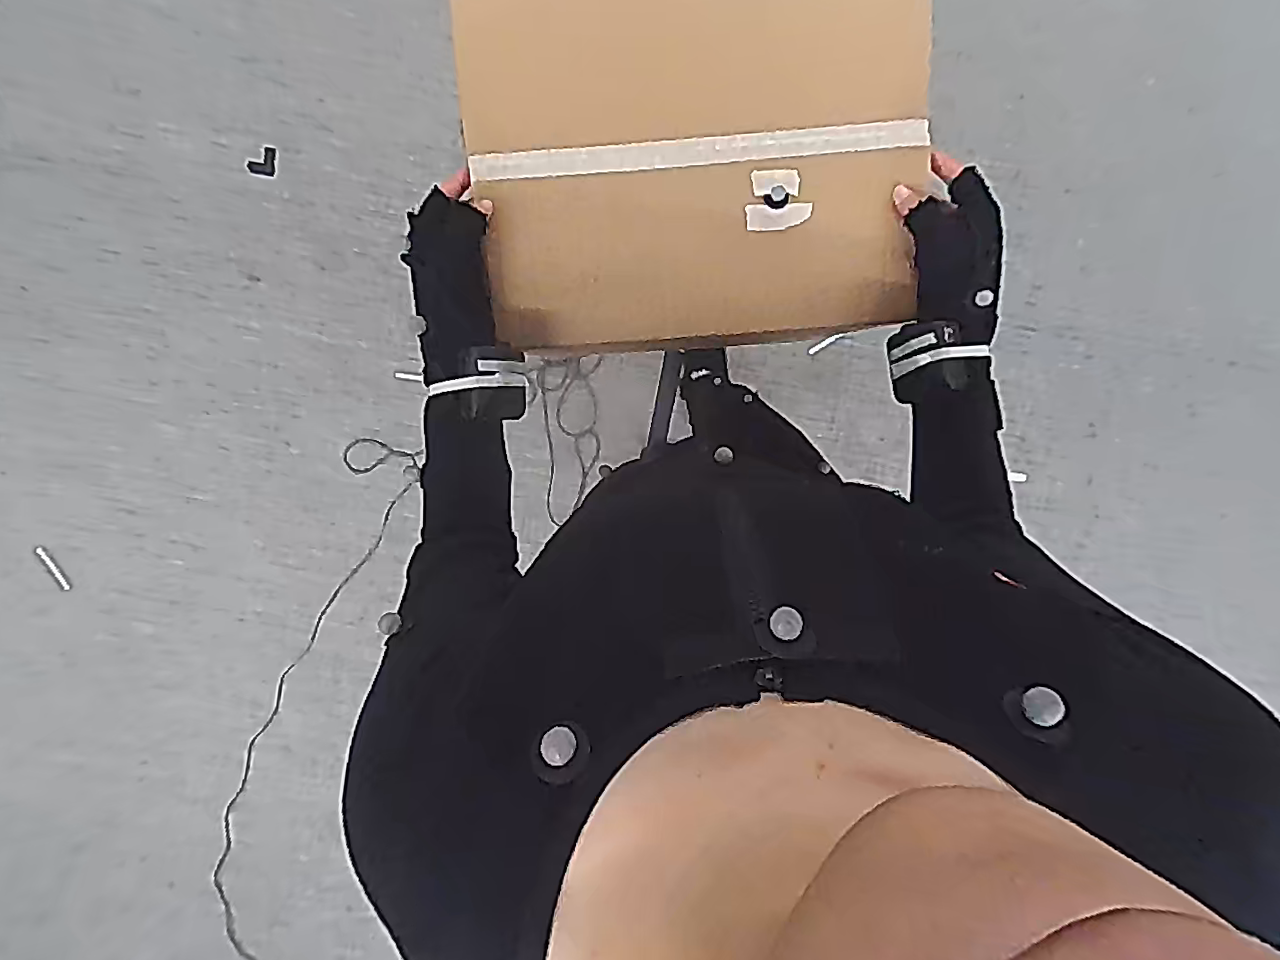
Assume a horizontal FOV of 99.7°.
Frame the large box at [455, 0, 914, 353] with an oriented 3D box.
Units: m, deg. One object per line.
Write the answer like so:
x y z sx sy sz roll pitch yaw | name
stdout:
0.045 -0.330 0.636 0.408 0.320 0.320 -4 101 0 | large box
